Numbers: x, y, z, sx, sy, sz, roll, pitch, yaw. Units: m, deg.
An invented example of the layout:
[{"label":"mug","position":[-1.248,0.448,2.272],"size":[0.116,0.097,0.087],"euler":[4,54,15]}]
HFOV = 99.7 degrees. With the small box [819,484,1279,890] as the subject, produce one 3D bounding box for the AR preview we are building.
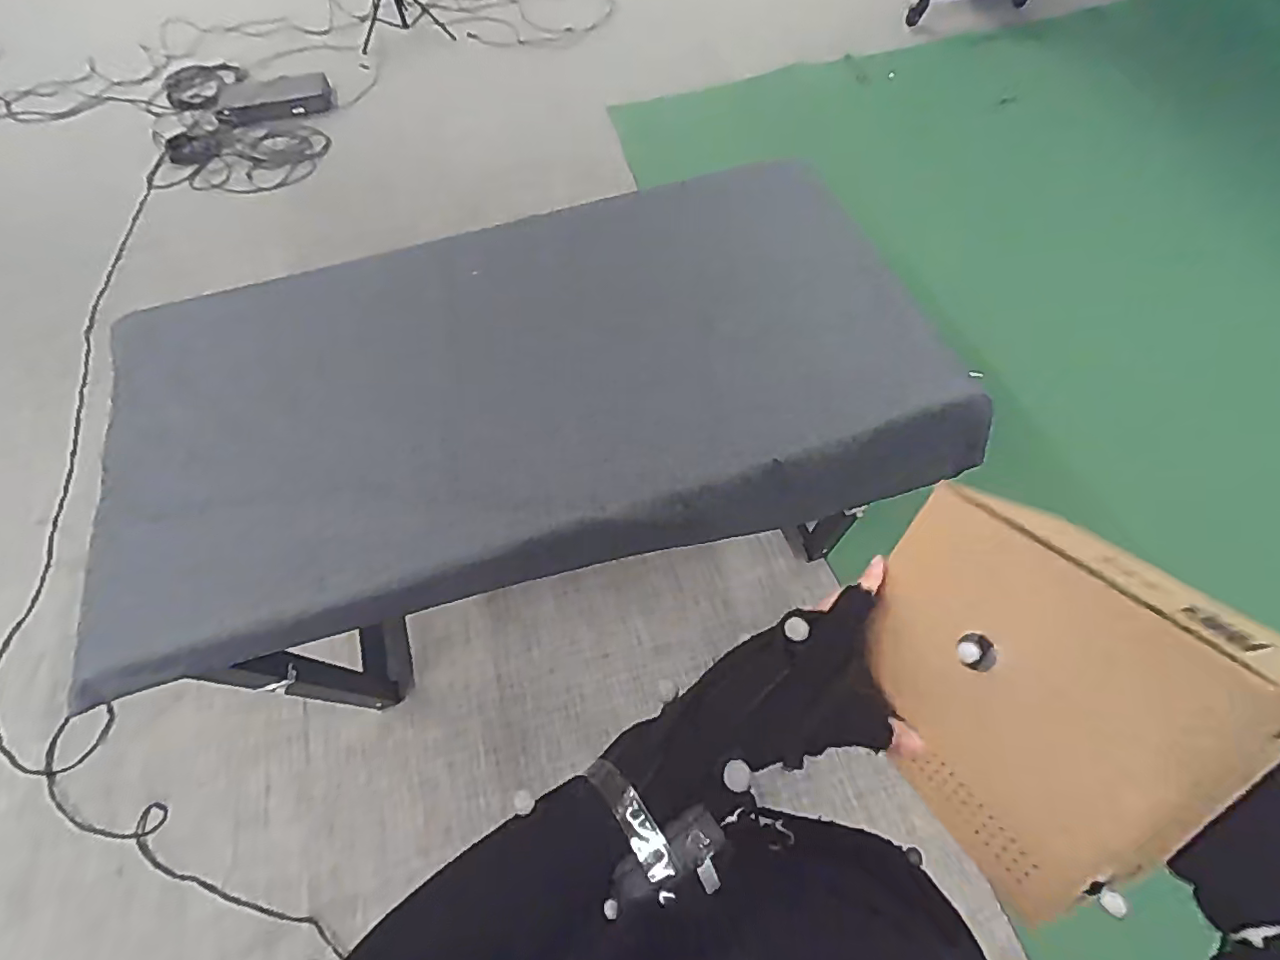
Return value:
[{"label":"small box","position":[0.259,0.128,0.353],"size":[0.168,0.176,0.179],"euler":[11,25,-30]}]
